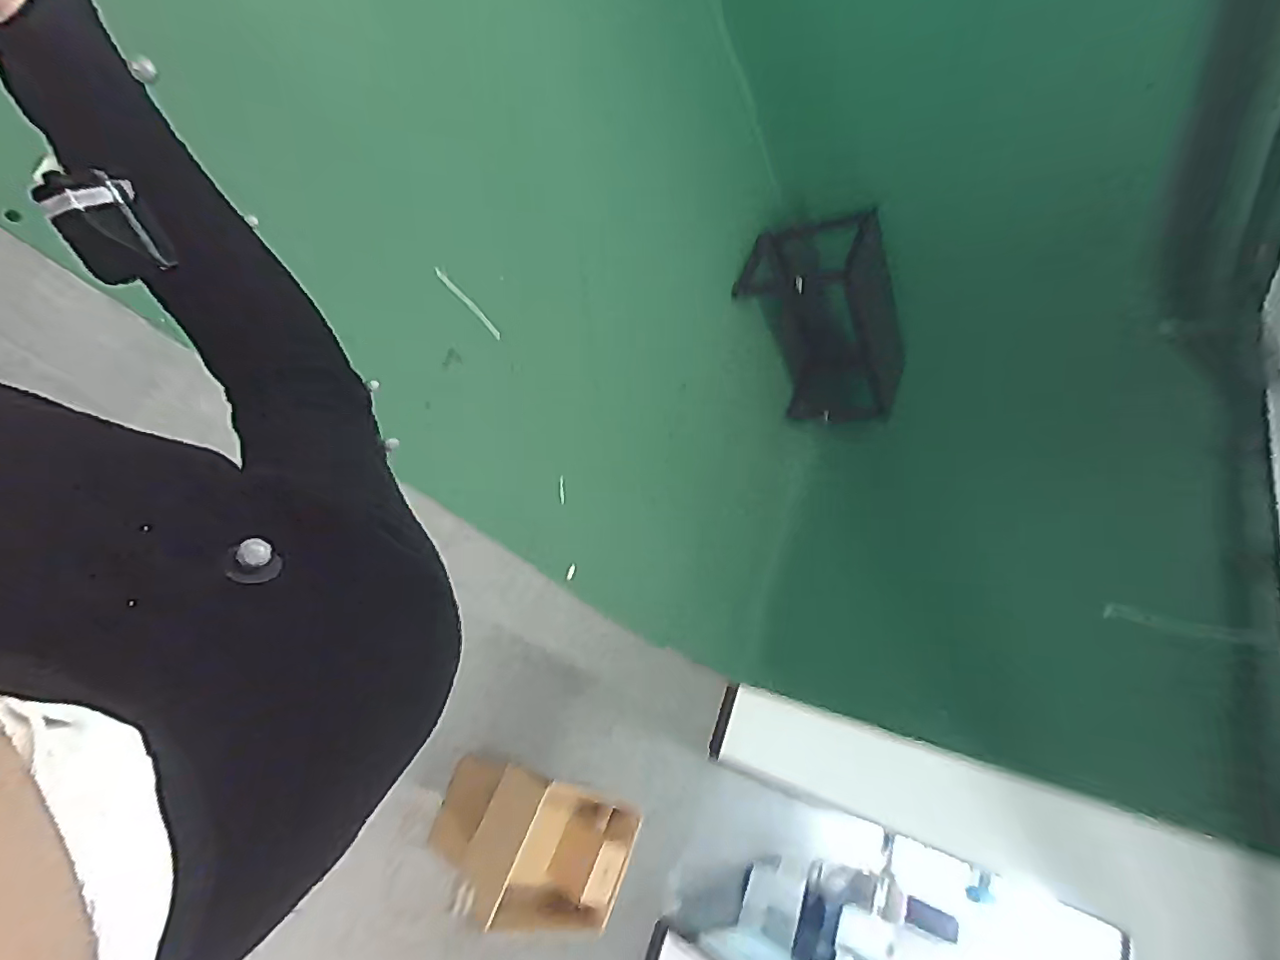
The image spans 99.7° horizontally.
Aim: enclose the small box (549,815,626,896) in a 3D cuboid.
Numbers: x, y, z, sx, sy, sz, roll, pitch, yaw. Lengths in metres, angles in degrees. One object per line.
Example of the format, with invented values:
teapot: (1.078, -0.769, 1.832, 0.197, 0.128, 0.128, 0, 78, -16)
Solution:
small box: (-0.183, 1.286, 1.859, 0.168, 0.176, 0.179, 51, 55, -42)
